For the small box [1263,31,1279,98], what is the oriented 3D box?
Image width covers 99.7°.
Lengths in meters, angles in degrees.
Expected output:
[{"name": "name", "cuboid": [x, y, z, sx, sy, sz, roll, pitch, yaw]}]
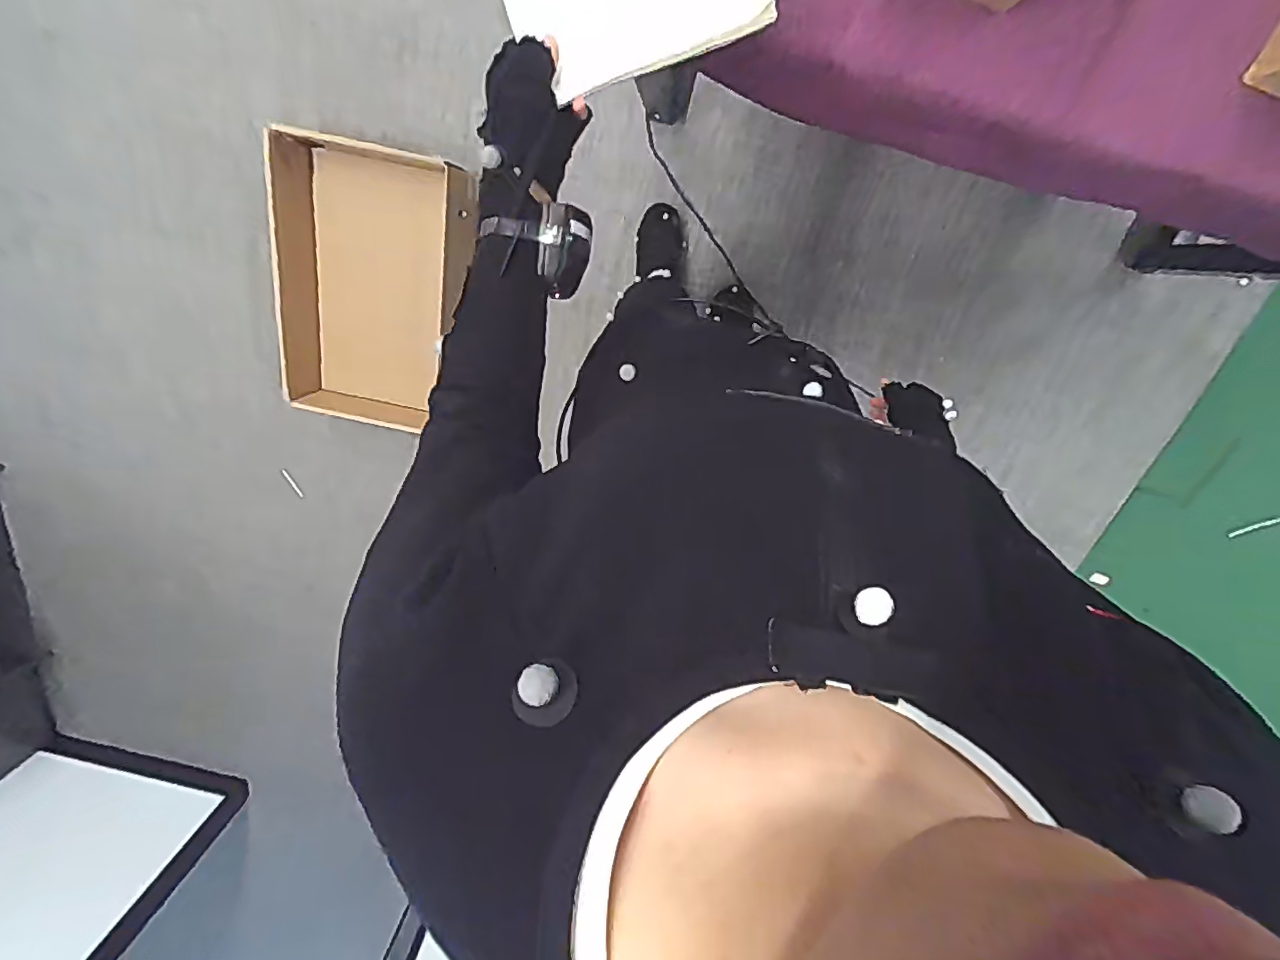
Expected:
[{"name": "small box", "cuboid": [0.677, -0.393, 0.422, 0.168, 0.176, 0.179, 20, 114, -2]}]
